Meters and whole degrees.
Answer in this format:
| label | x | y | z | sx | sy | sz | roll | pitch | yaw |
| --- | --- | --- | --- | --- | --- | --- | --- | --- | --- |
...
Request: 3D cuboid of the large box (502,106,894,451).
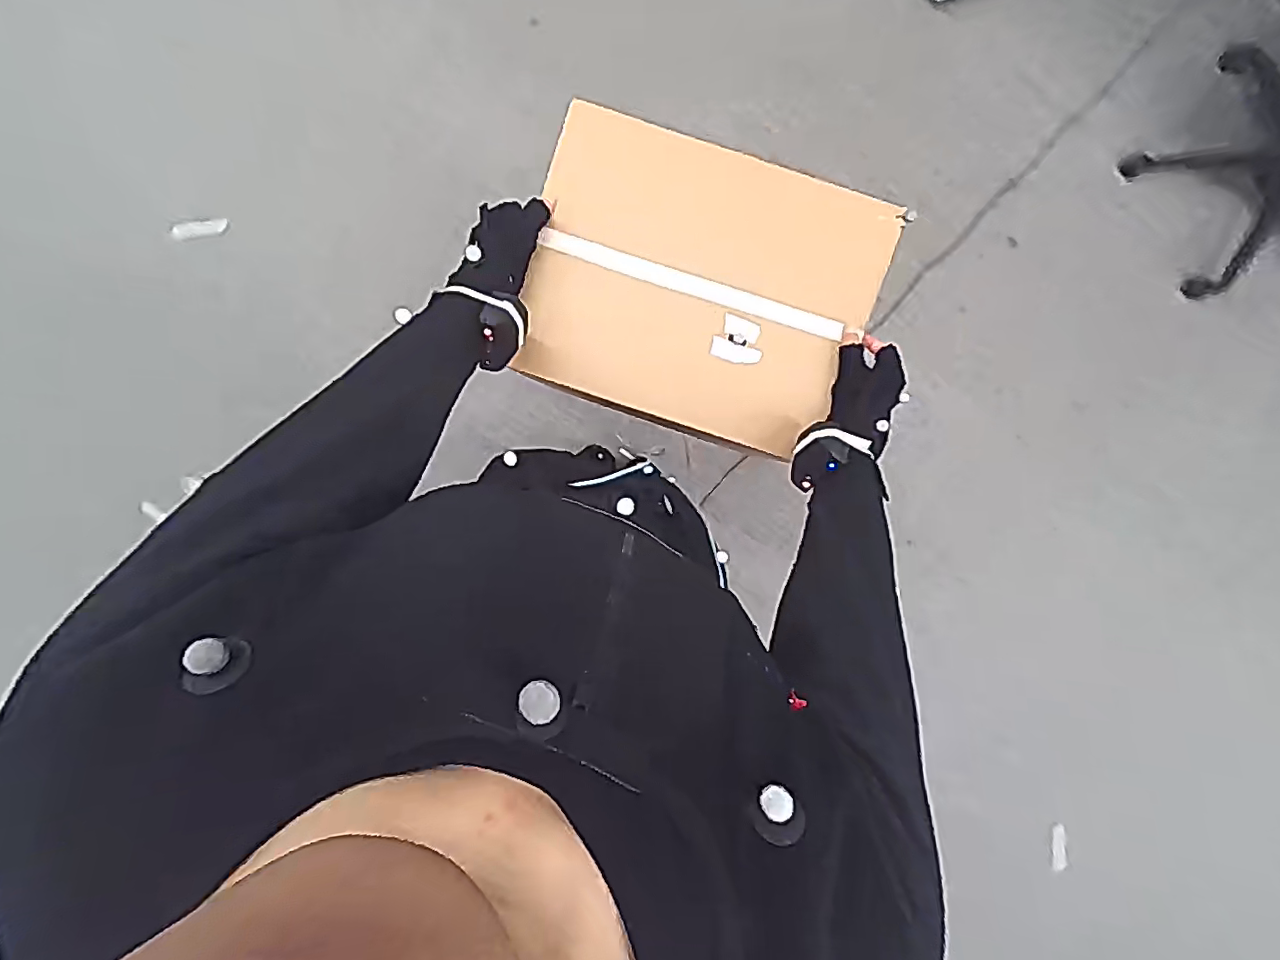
| label | x | y | z | sx | sy | sz | roll | pitch | yaw |
| --- | --- | --- | --- | --- | --- | --- | --- | --- | --- |
| large box | 0.065 | -0.246 | 0.787 | 0.408 | 0.320 | 0.320 | 18 | 96 | -1 |
